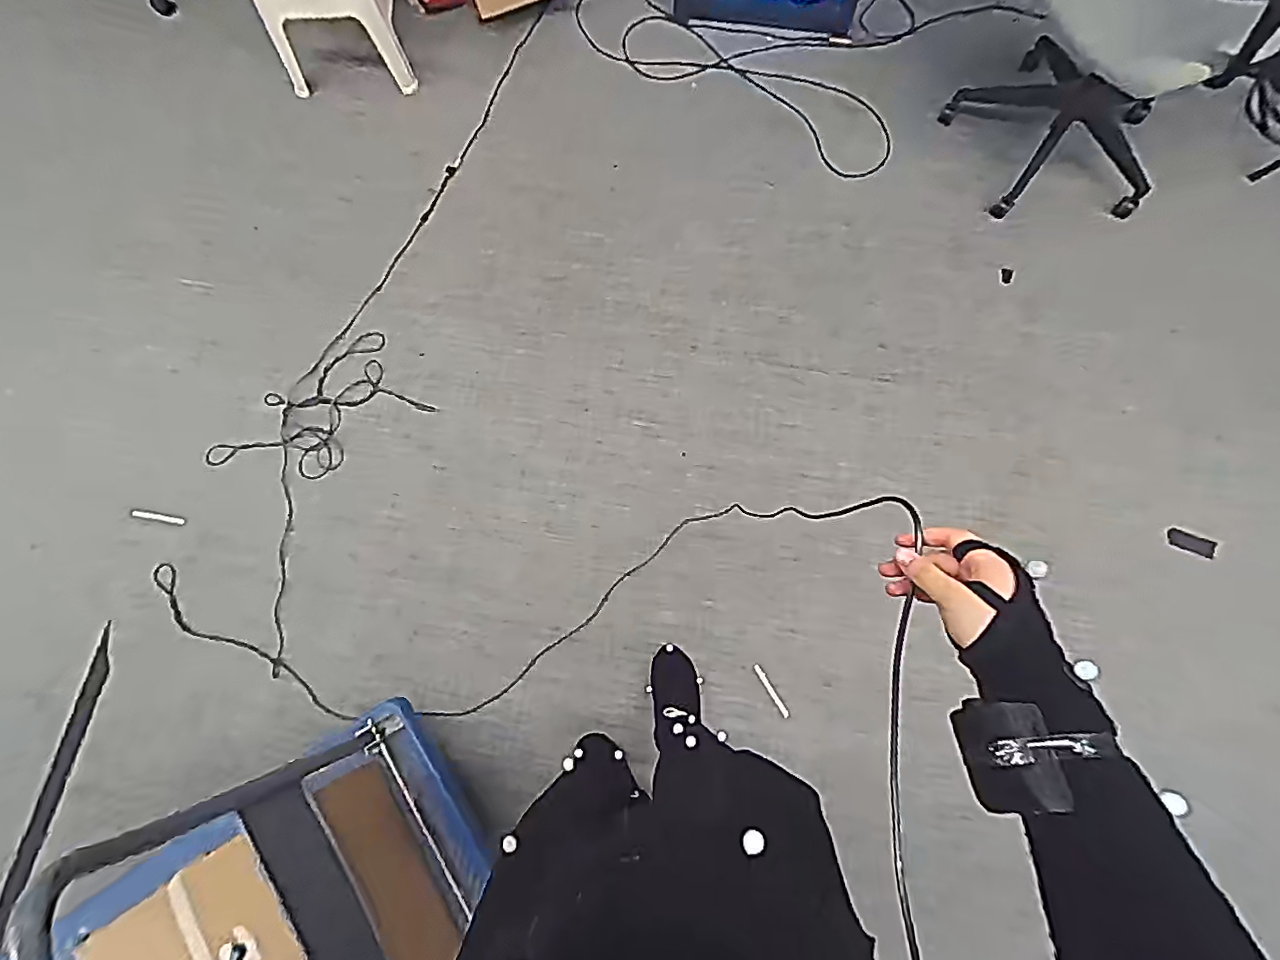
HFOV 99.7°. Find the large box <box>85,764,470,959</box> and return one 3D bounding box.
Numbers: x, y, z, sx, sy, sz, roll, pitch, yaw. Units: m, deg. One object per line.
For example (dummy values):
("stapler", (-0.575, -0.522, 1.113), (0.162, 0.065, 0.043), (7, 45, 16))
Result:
("large box", (-0.549, 0.770, 0.887), (0.320, 0.320, 0.408), (-33, 77, -9))
